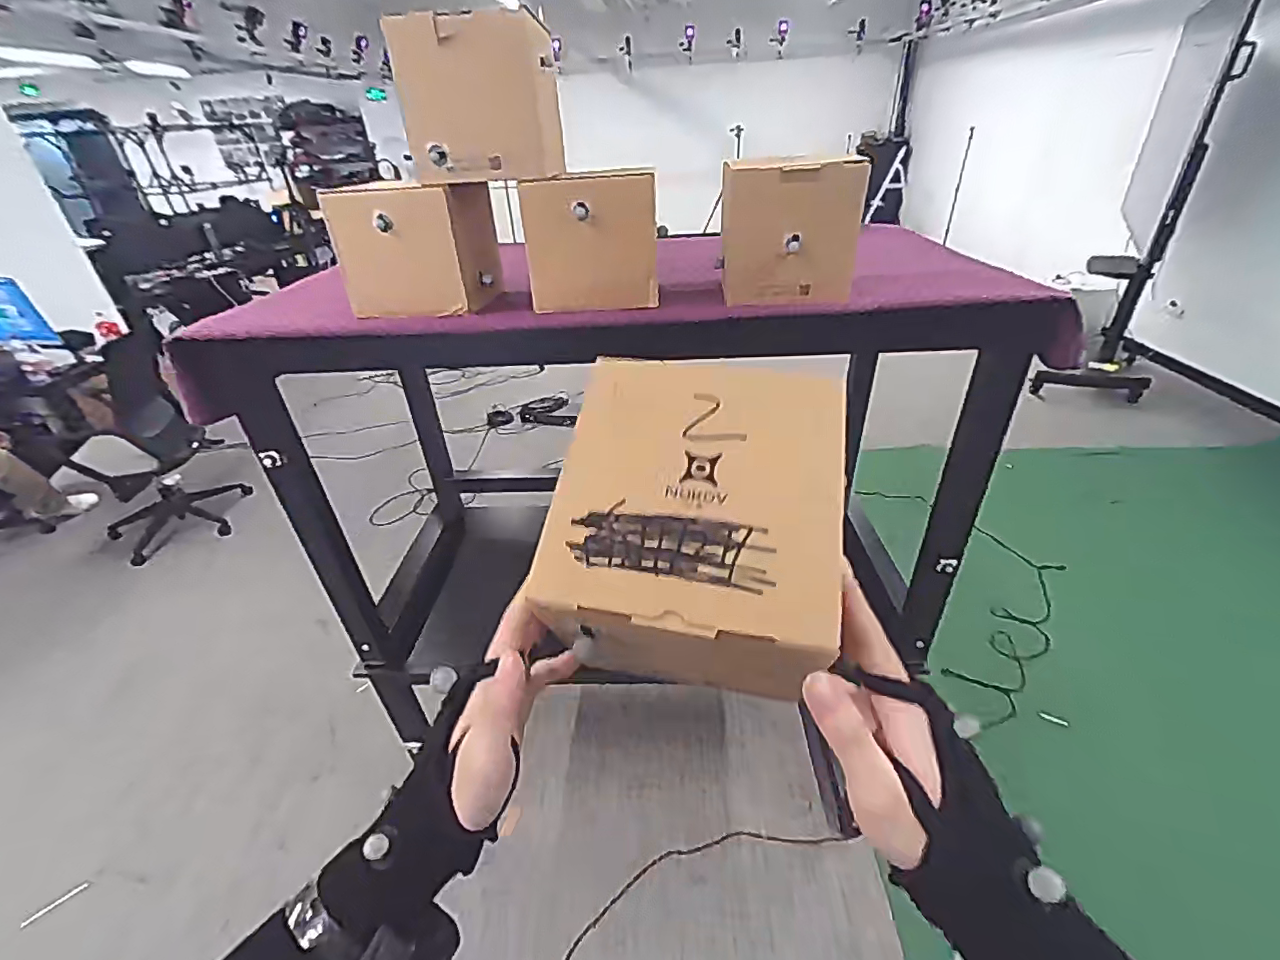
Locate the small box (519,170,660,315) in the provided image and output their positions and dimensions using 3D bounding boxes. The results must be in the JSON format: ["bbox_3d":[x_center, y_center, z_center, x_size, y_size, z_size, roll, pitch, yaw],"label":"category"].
[{"bbox_3d":[-0.060,-0.348,0.791,0.179,0.176,0.168,-2,32,3],"label":"small box"}]

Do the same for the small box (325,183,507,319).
[{"bbox_3d":[-0.317,-0.342,0.806,0.179,0.176,0.168,2,32,7],"label":"small box"}]

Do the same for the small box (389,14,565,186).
[{"bbox_3d":[-0.199,-0.491,0.723,0.168,0.176,0.179,-1,31,3],"label":"small box"}]
